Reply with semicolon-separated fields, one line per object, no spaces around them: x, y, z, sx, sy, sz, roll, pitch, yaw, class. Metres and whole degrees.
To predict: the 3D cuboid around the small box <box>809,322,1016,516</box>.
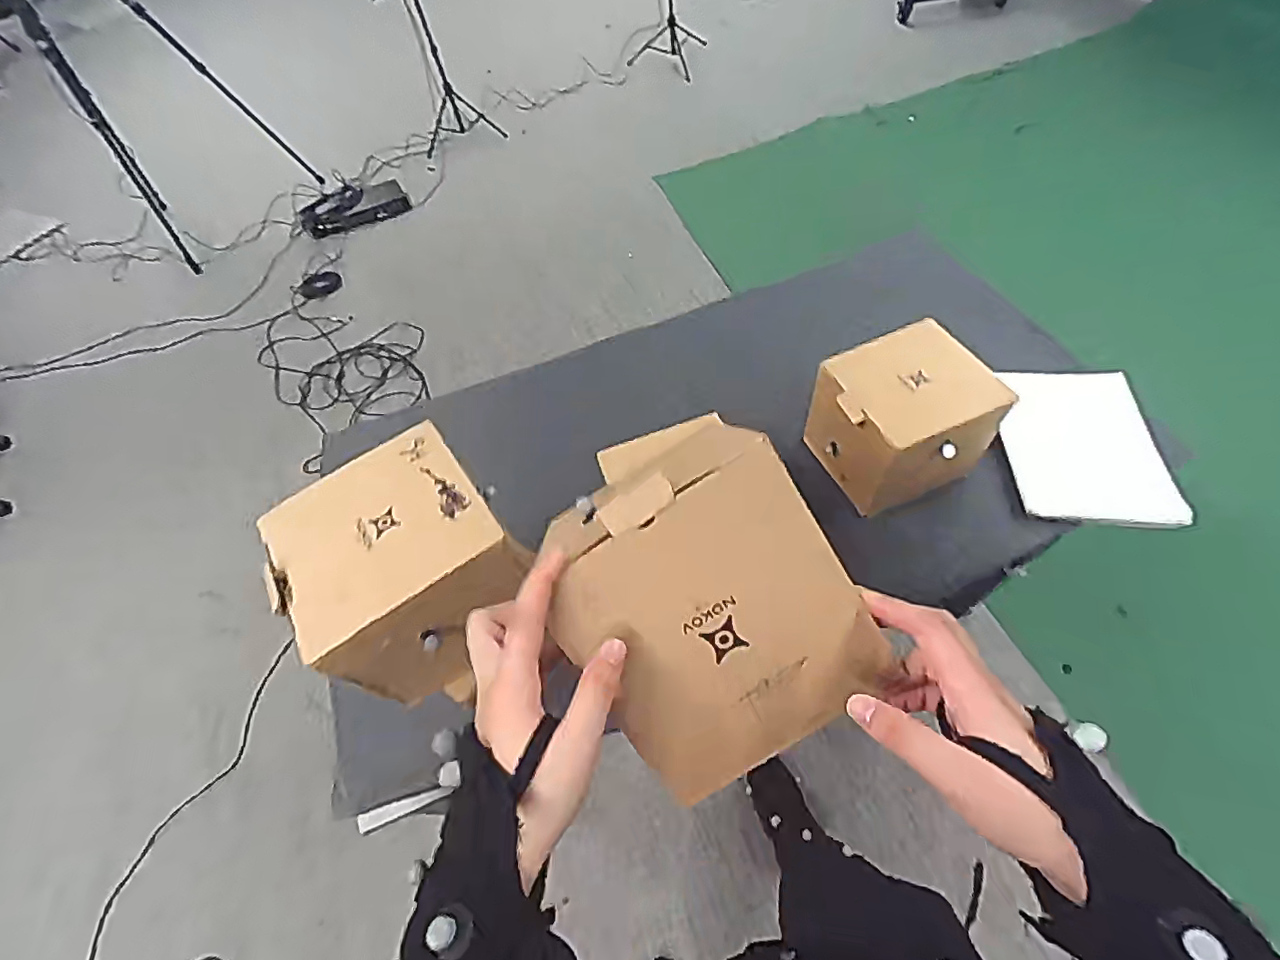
0.357;-0.080;0.751;0.179;0.176;0.168;-23;56;-5;small box

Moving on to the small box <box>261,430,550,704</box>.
-0.216;0.092;0.532;0.179;0.176;0.168;-35;59;-12;small box

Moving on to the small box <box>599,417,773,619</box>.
0.058;0.054;0.710;0.168;0.176;0.179;-20;56;-3;small box
